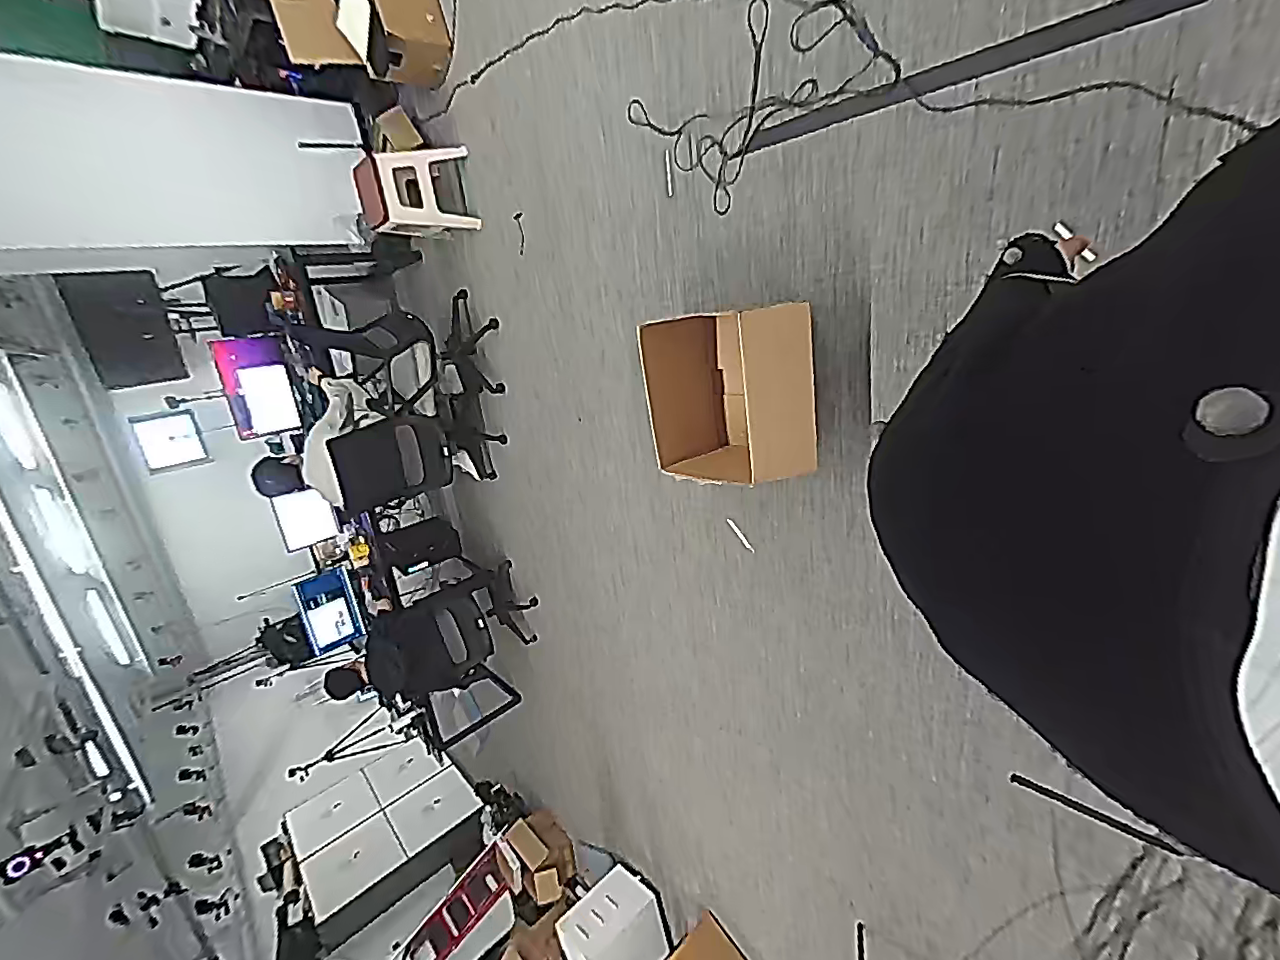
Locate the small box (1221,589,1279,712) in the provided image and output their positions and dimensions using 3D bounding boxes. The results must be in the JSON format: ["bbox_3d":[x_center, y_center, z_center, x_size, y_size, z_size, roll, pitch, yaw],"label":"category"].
[{"bbox_3d":[1.210,0.320,0.979,0.179,0.176,0.168,19,119,46],"label":"small box"}]
